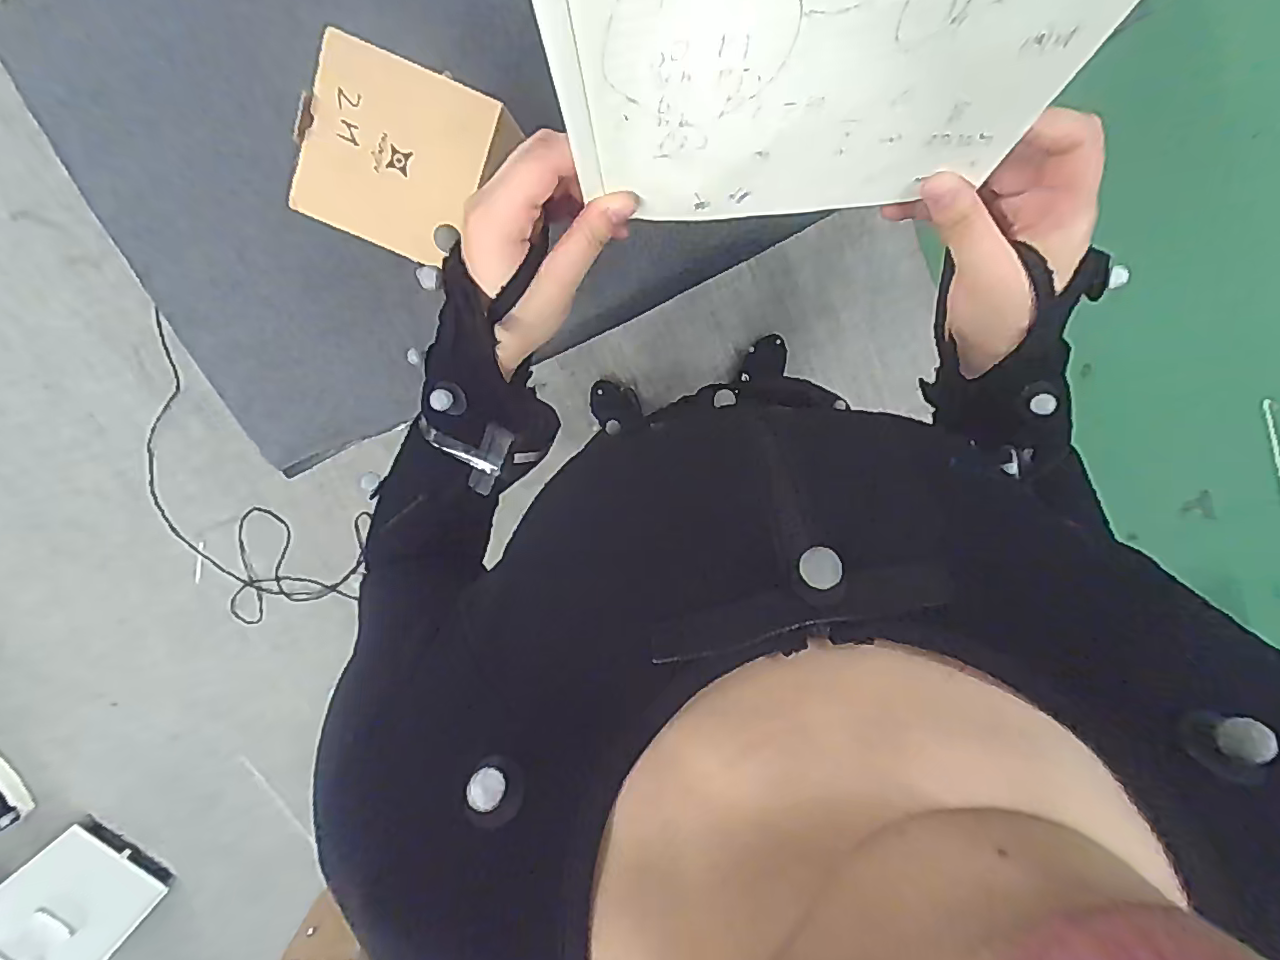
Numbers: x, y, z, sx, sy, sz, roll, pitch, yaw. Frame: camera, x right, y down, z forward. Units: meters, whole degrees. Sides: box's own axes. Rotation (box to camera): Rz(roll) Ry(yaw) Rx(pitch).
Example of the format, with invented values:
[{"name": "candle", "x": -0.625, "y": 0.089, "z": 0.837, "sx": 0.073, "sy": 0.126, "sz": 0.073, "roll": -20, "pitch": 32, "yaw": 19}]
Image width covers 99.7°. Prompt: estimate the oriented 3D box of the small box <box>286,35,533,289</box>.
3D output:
[{"name": "small box", "x": -0.236, "y": -0.323, "z": 0.595, "sx": 0.179, "sy": 0.176, "sz": 0.168, "roll": 22, "pitch": 103, "yaw": -3}]
